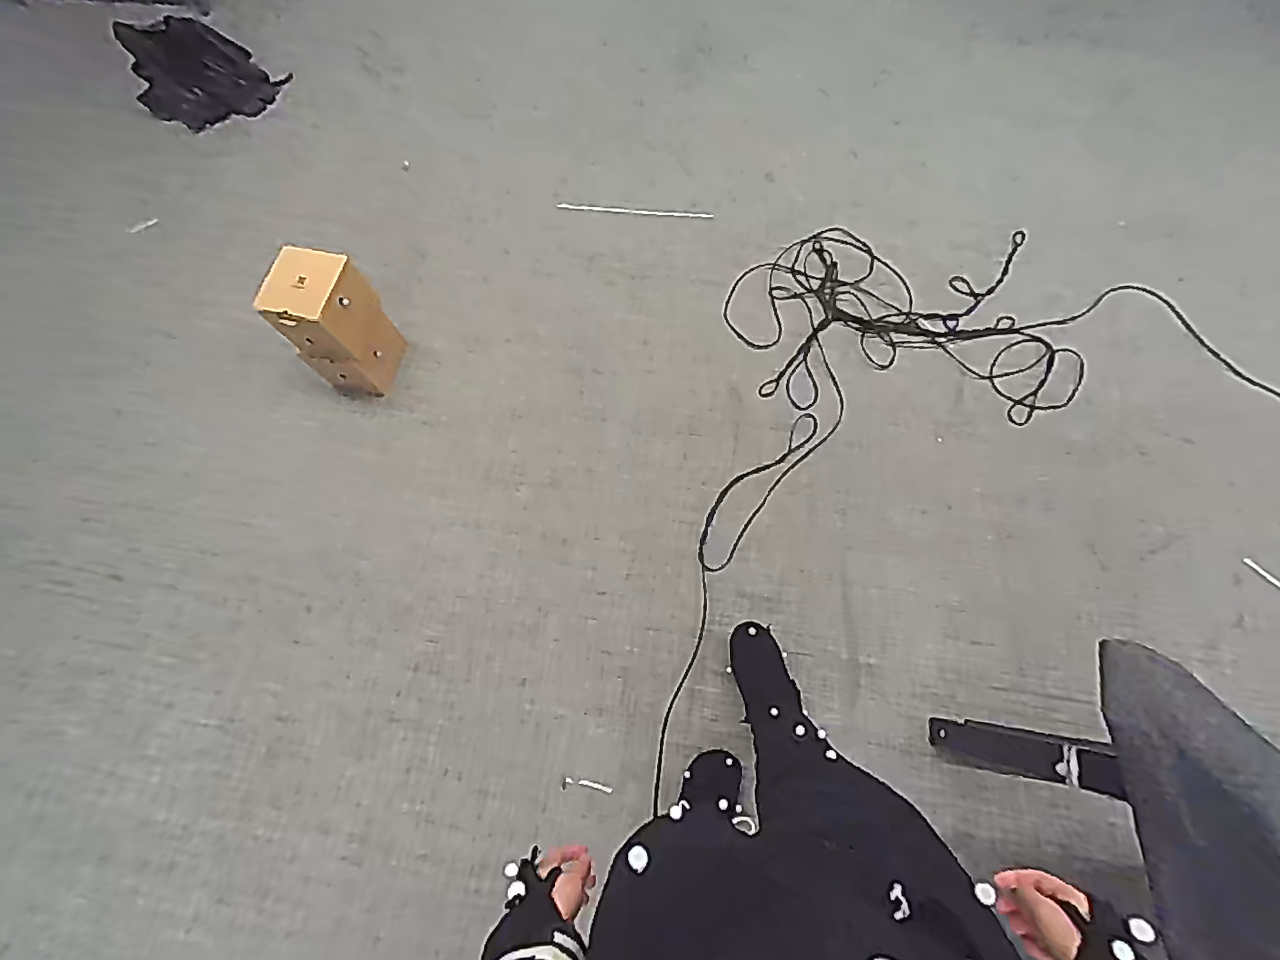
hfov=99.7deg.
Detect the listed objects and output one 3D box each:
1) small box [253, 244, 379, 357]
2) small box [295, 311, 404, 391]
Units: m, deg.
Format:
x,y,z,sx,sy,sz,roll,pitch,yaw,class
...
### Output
x,y,z,sx,sy,sz,roll,pitch,yaw,class
-0.750,-0.419,1.278,0.168,0.176,0.179,12,73,7,small box
-0.756,-0.357,1.430,0.168,0.176,0.179,12,73,7,small box
